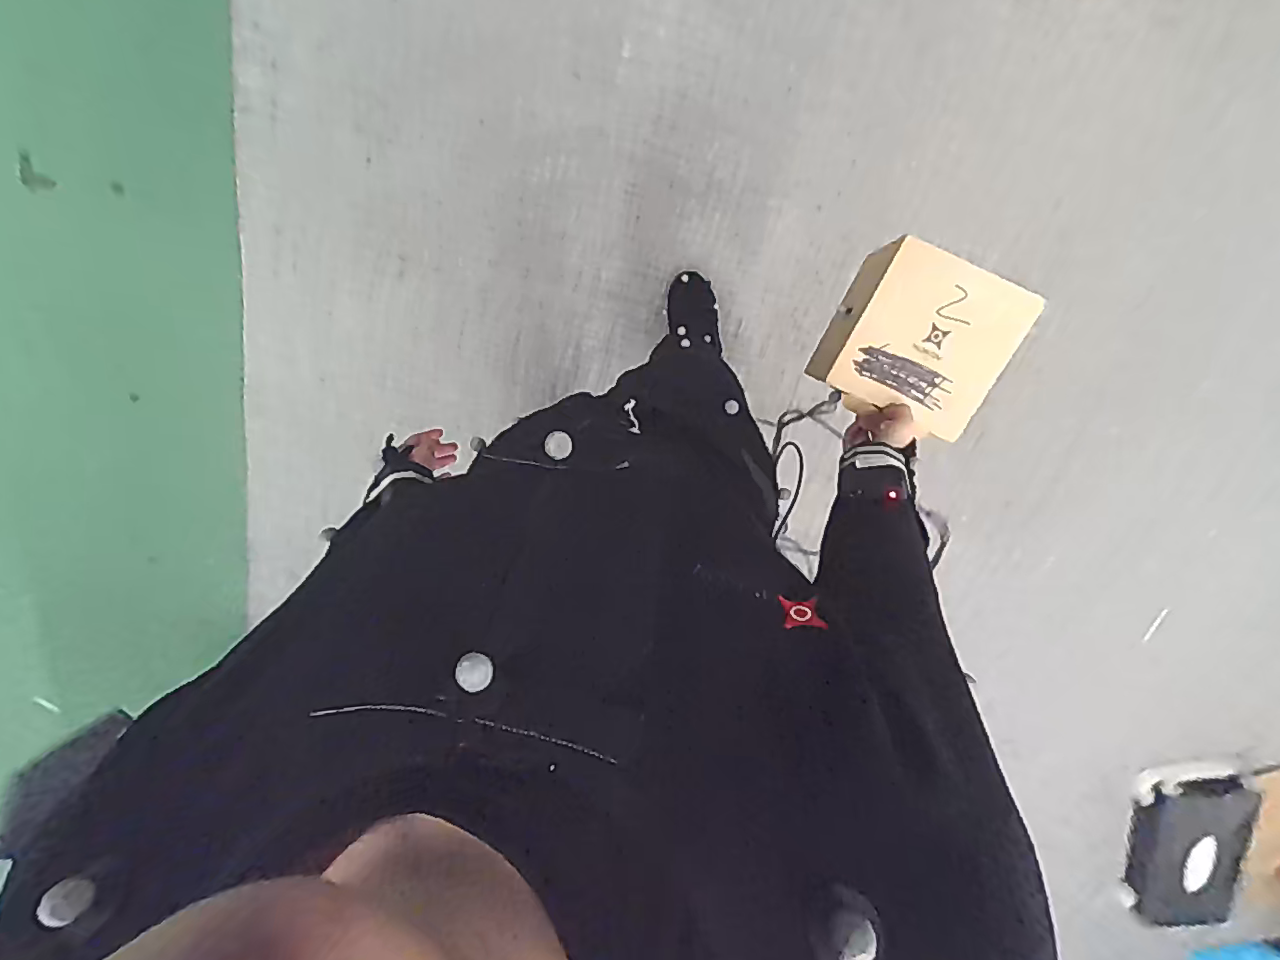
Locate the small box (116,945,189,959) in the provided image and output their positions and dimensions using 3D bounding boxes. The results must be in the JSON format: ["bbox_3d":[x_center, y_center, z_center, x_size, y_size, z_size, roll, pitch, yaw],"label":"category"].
[{"bbox_3d":[-0.916,0.997,0.983,0.168,0.176,0.179,13,113,-2],"label":"small box"}]
